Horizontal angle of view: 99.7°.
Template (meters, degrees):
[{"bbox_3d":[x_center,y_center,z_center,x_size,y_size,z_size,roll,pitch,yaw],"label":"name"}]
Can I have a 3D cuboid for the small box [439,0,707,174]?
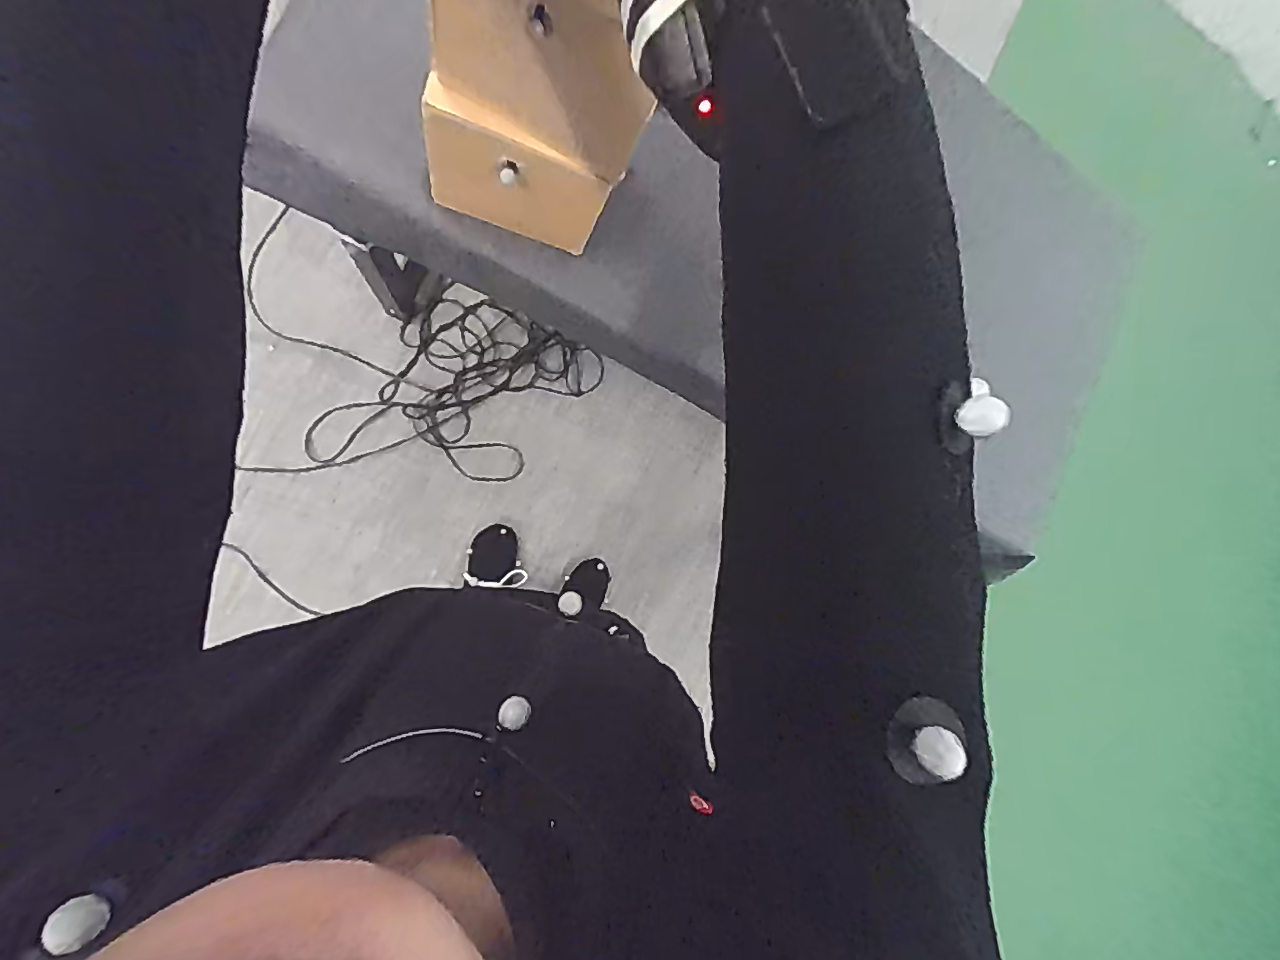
[{"bbox_3d":[-0.042,-0.379,0.413,0.179,0.176,0.168,24,84,-15],"label":"small box"}]

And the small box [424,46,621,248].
[{"bbox_3d":[-0.106,-0.370,0.562,0.179,0.176,0.168,15,85,-15],"label":"small box"}]
